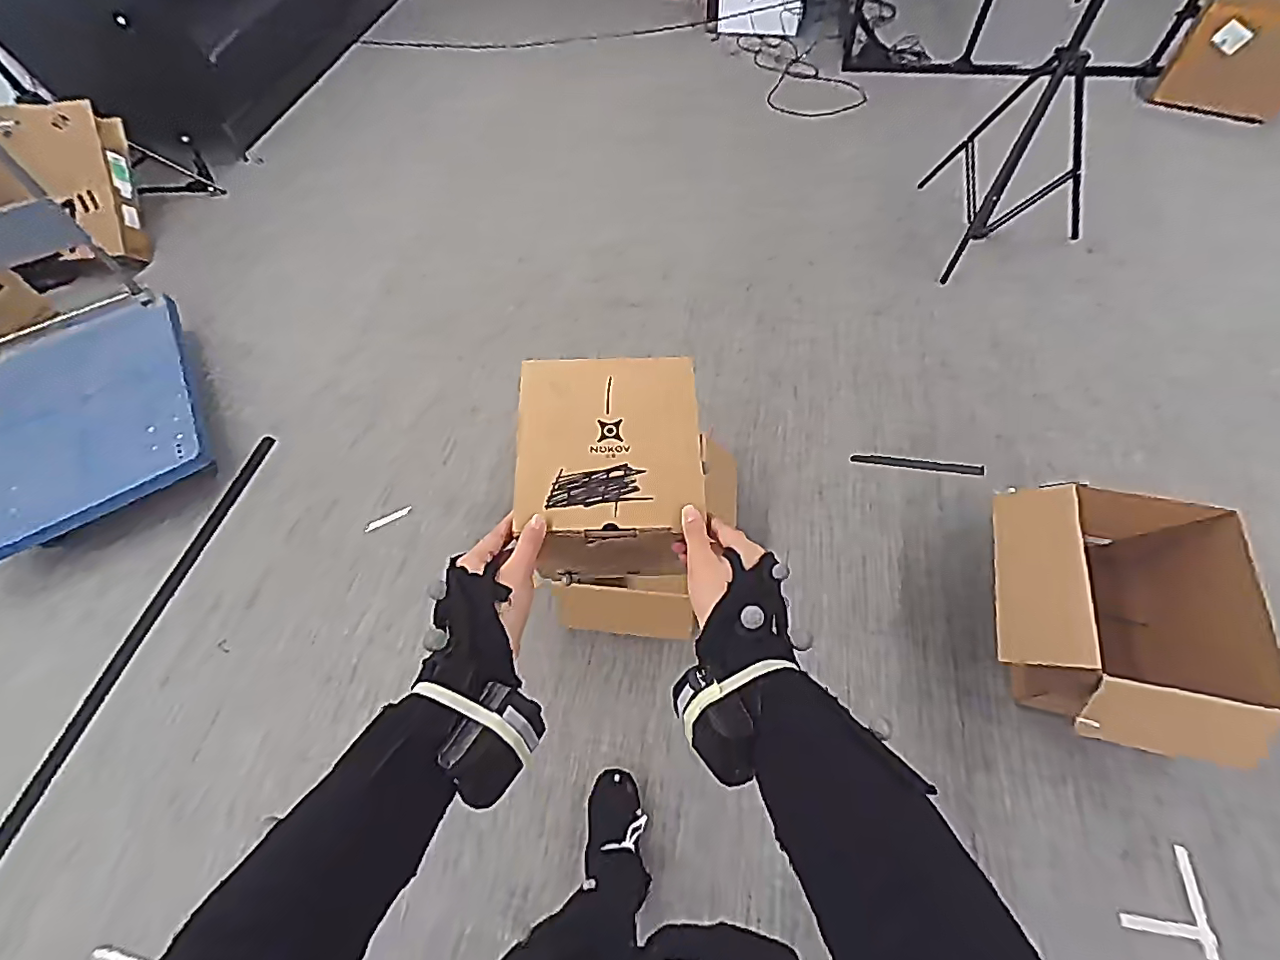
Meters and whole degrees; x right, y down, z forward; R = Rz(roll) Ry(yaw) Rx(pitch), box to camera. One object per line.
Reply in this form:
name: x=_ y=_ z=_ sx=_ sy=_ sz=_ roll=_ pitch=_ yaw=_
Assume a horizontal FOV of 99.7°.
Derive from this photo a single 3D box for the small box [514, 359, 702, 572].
small box: x=-0.030 y=-0.005 z=0.566 sx=0.168 sy=0.176 sz=0.179 roll=-2 pitch=66 yaw=-2
